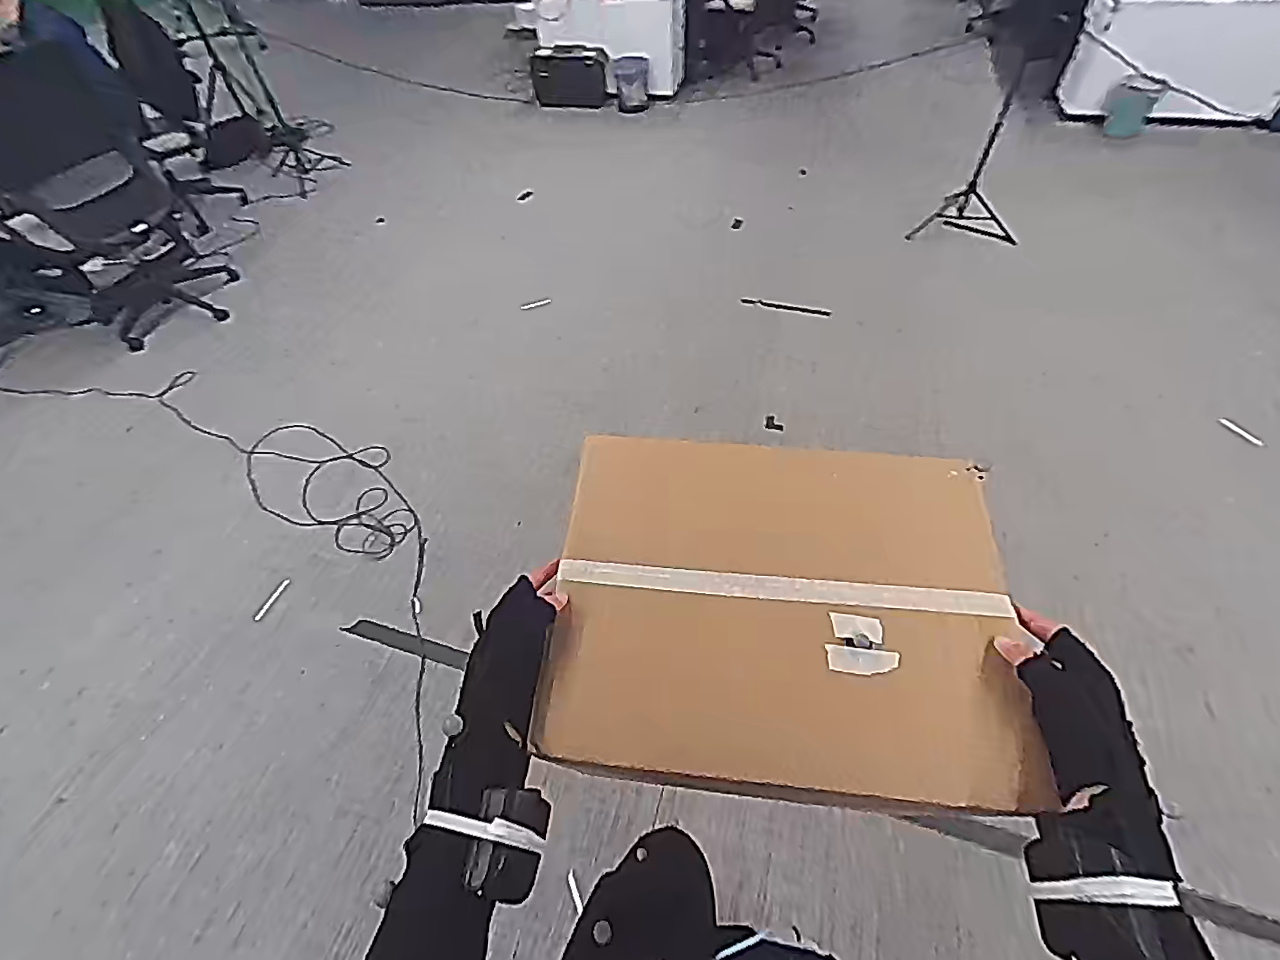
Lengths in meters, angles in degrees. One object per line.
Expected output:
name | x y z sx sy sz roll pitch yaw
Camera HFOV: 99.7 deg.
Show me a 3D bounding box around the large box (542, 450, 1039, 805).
large box | 0.130 0.184 0.635 0.408 0.320 0.320 4 59 5
